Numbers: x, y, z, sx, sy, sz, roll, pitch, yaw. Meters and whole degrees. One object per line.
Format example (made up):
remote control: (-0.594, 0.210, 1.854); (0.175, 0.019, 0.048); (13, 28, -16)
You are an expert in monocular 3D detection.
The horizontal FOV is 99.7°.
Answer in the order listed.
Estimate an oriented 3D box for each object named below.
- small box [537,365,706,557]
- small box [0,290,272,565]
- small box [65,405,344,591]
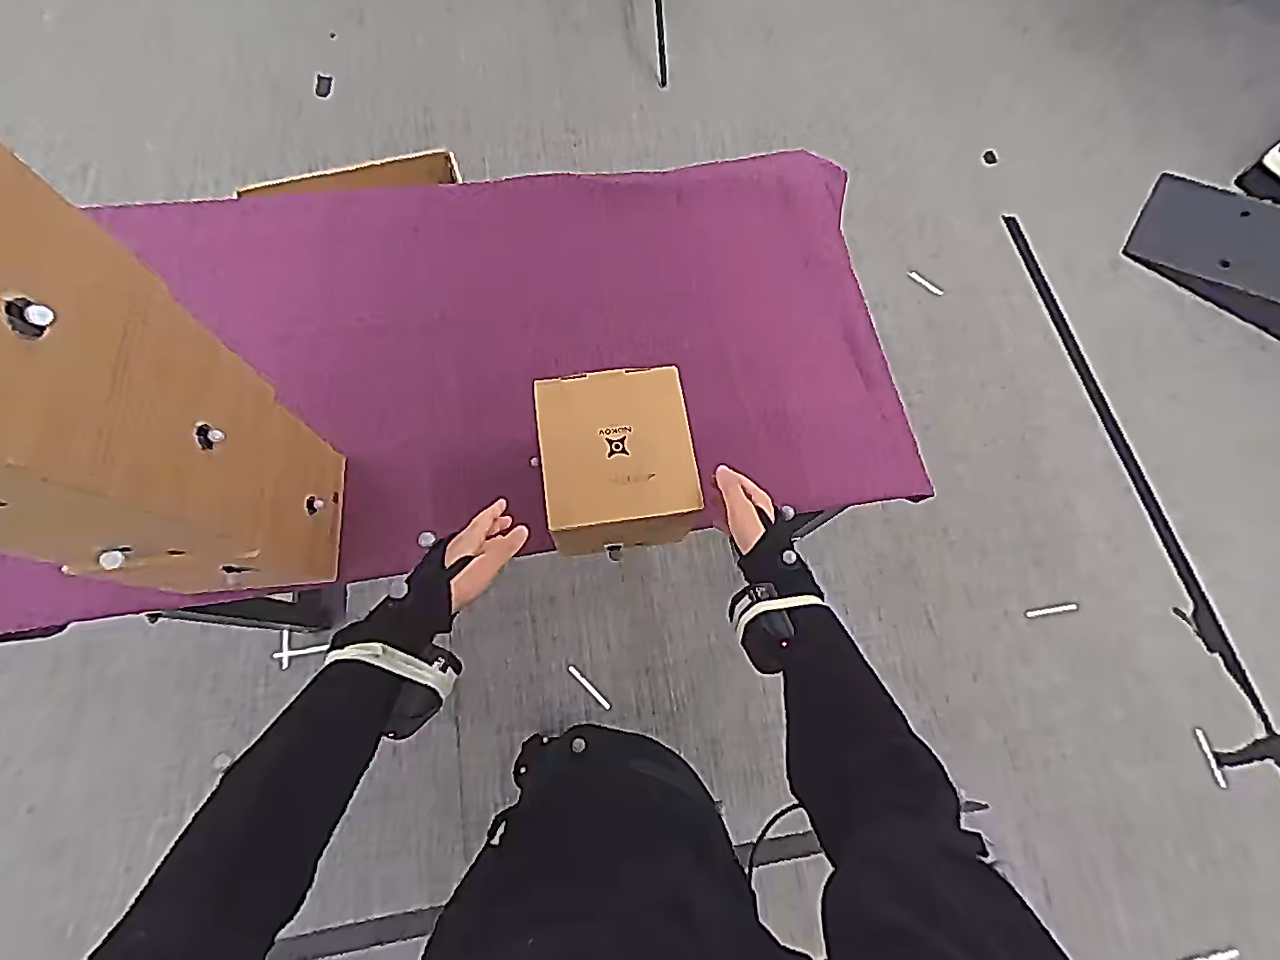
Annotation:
small box: (-0.028, -0.015, 0.658); (0.168, 0.176, 0.179); (-8, 73, -5)
small box: (-0.446, -0.034, 0.457); (0.168, 0.176, 0.179); (-5, 72, -6)
small box: (-0.460, 0.028, 0.609); (0.179, 0.176, 0.168); (-4, 71, -5)
